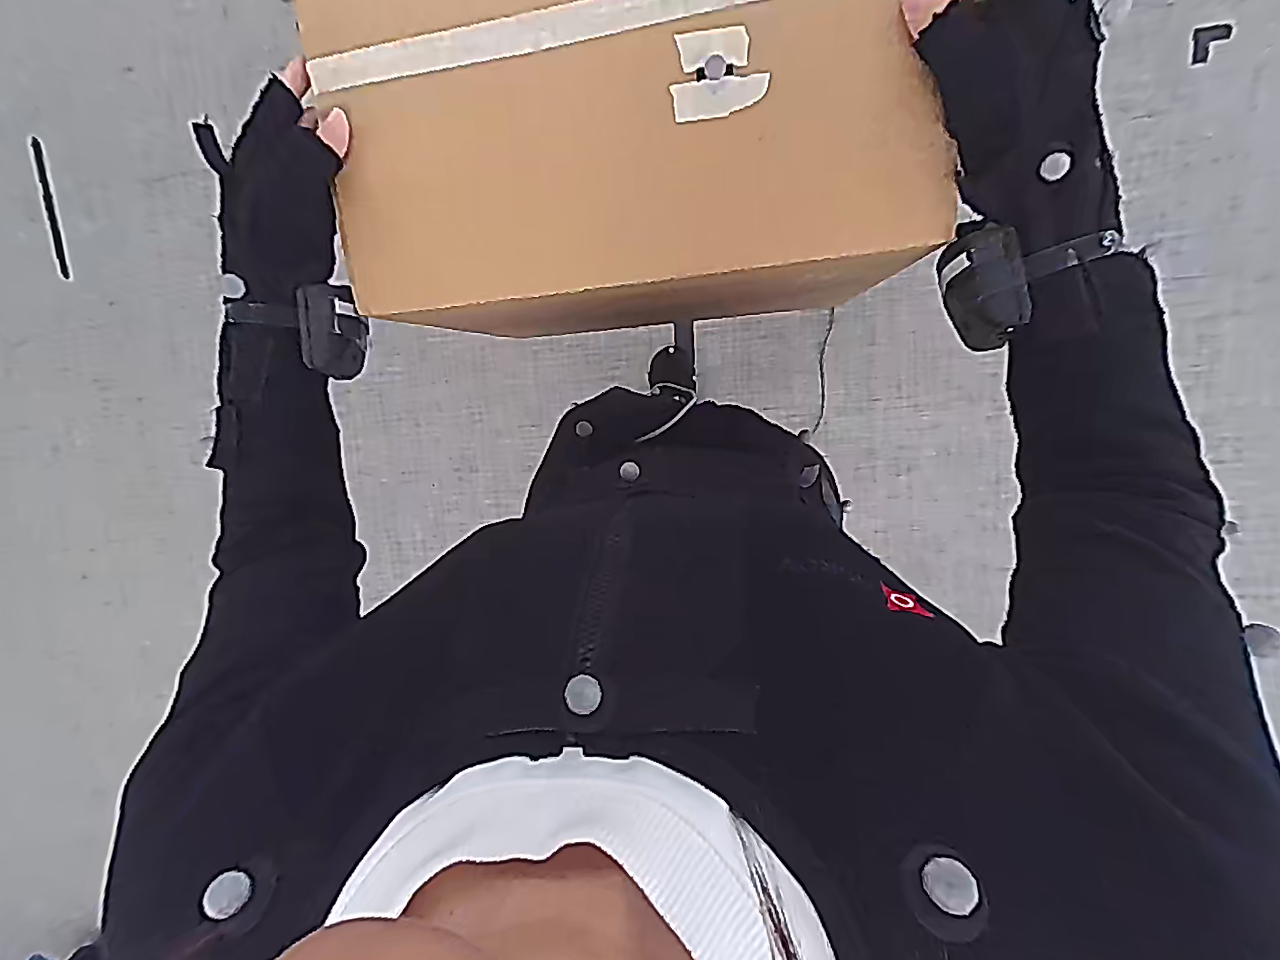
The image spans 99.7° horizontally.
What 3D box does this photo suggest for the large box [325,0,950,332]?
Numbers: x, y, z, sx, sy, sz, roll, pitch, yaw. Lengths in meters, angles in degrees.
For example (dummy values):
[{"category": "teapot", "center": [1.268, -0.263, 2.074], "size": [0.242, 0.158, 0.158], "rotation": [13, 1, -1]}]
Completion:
[{"category": "large box", "center": [0.003, -0.325, 0.490], "size": [0.408, 0.320, 0.320], "rotation": [-4, 102, 9]}]
